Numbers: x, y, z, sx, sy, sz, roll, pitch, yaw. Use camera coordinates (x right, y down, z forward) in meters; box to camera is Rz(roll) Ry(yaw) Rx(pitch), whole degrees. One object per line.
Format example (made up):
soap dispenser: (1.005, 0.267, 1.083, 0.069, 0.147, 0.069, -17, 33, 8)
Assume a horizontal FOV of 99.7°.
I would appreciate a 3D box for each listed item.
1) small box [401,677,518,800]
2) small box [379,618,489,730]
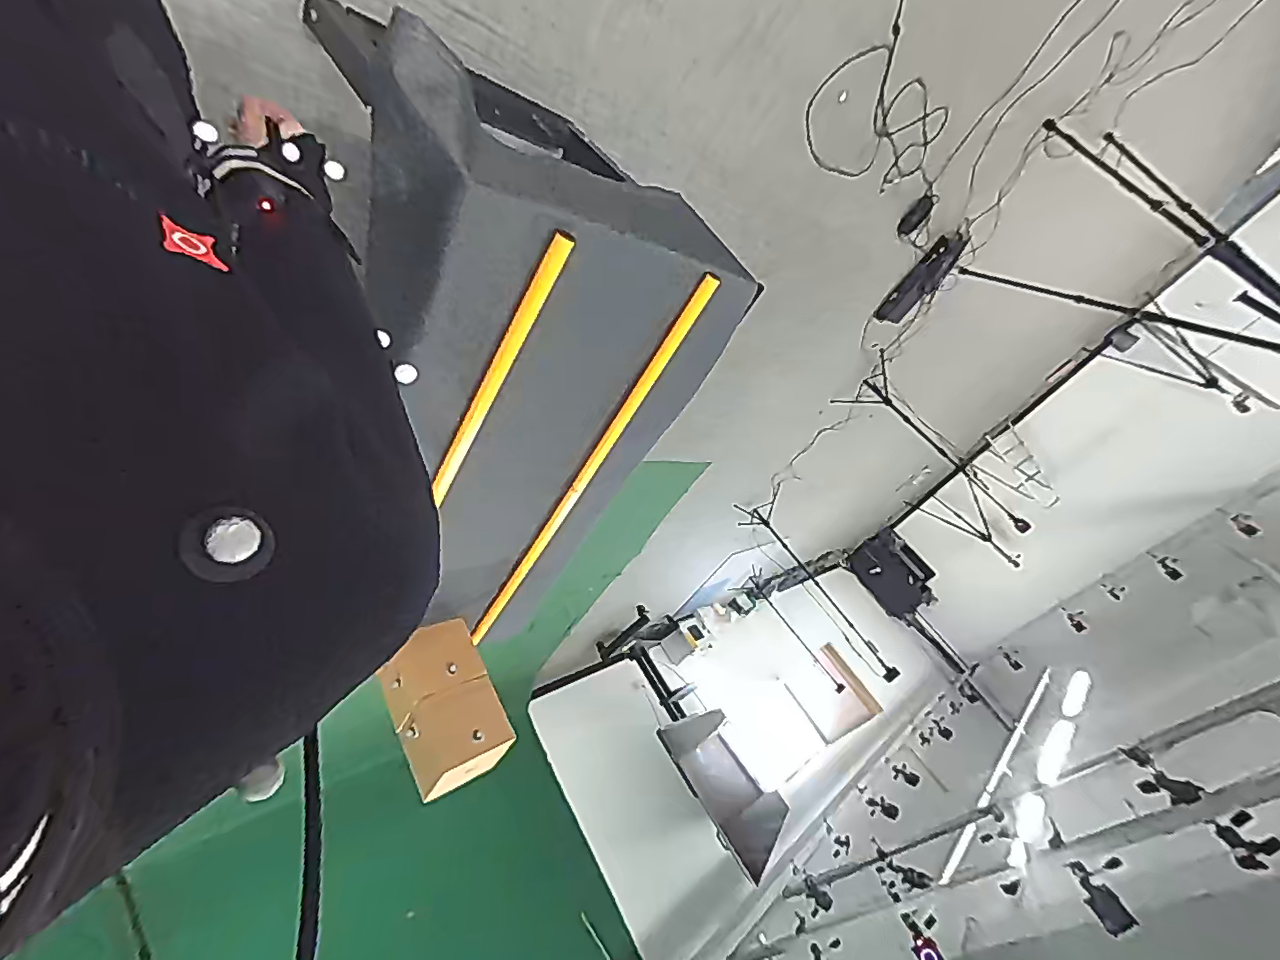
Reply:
small box: (-0.417, 0.582, 1.239, 0.179, 0.176, 0.168, -6, 140, -46)
small box: (-0.503, 0.461, 1.306, 0.179, 0.176, 0.168, -5, 140, -48)
